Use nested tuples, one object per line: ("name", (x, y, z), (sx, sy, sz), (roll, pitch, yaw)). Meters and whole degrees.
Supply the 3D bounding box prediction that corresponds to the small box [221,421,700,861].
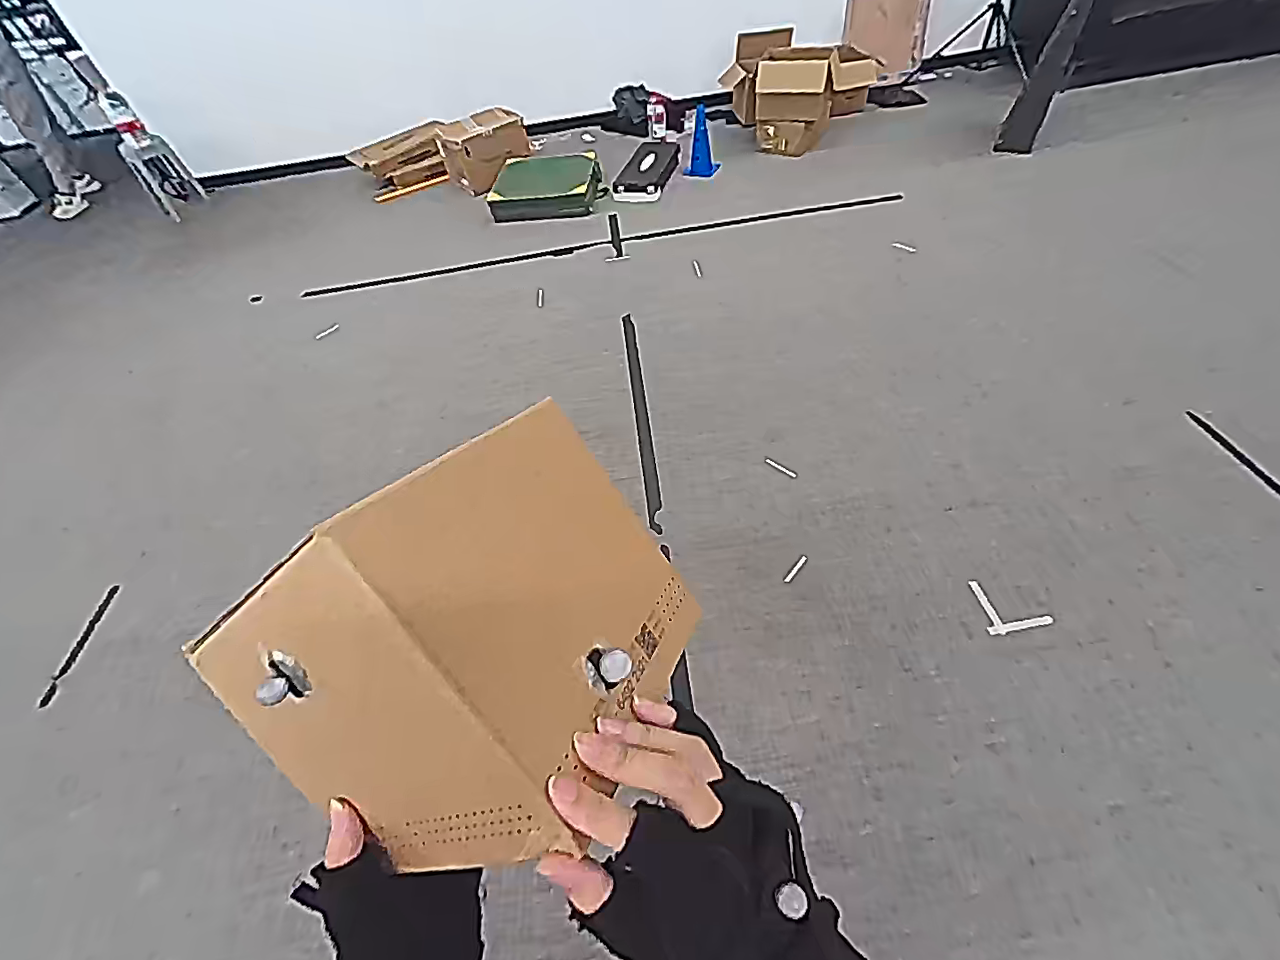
("small box", (-0.095, 0.097, 0.330), (0.179, 0.176, 0.168), (-30, 9, 32))
